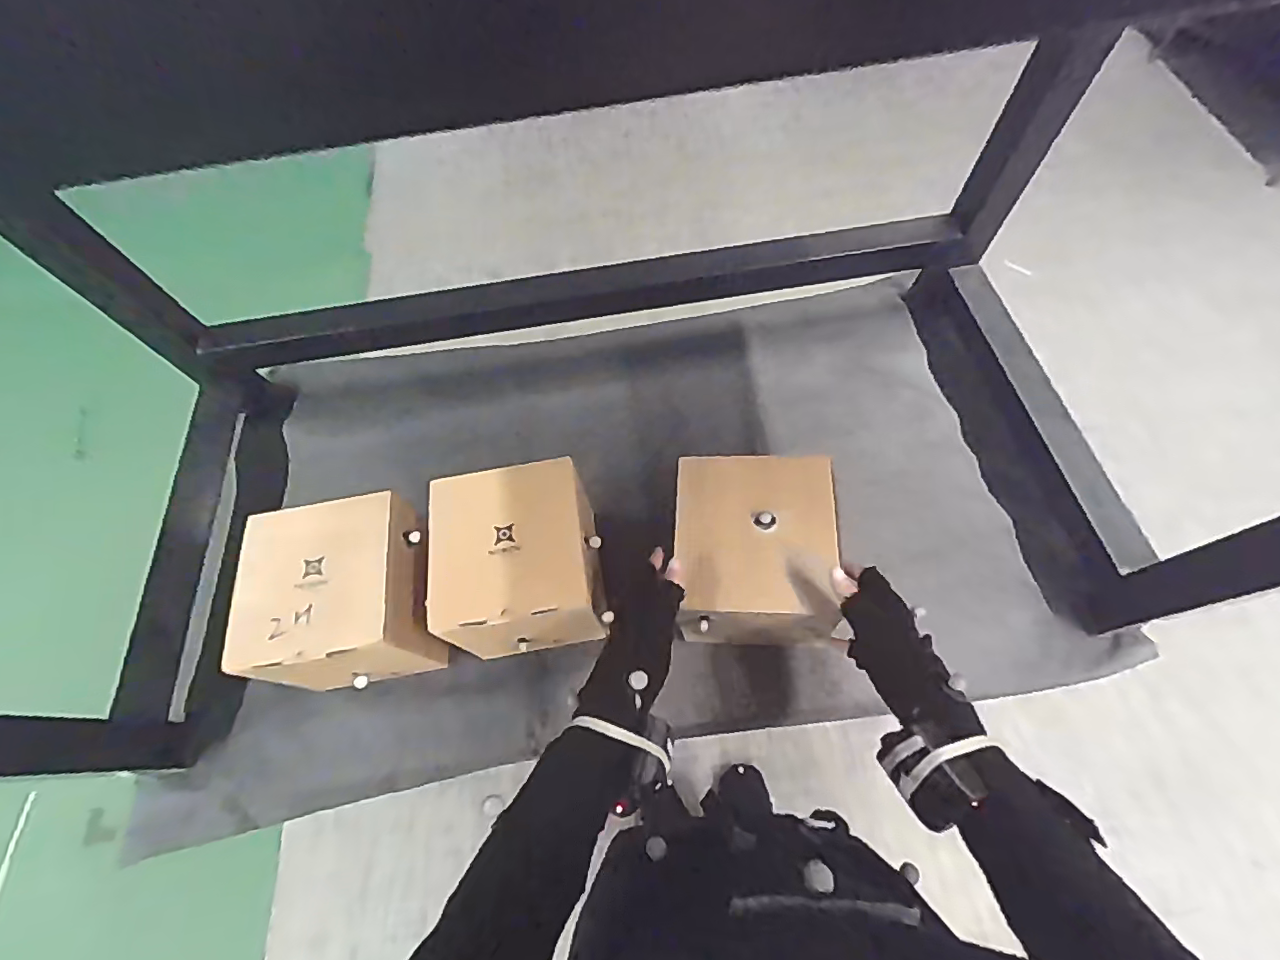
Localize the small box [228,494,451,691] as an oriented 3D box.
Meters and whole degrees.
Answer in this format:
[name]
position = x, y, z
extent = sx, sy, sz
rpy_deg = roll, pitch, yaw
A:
[small box]
position = -0.339, 0.141, 0.650
extent = 0.168, 0.176, 0.179
rpy_deg = -10, 62, -1
